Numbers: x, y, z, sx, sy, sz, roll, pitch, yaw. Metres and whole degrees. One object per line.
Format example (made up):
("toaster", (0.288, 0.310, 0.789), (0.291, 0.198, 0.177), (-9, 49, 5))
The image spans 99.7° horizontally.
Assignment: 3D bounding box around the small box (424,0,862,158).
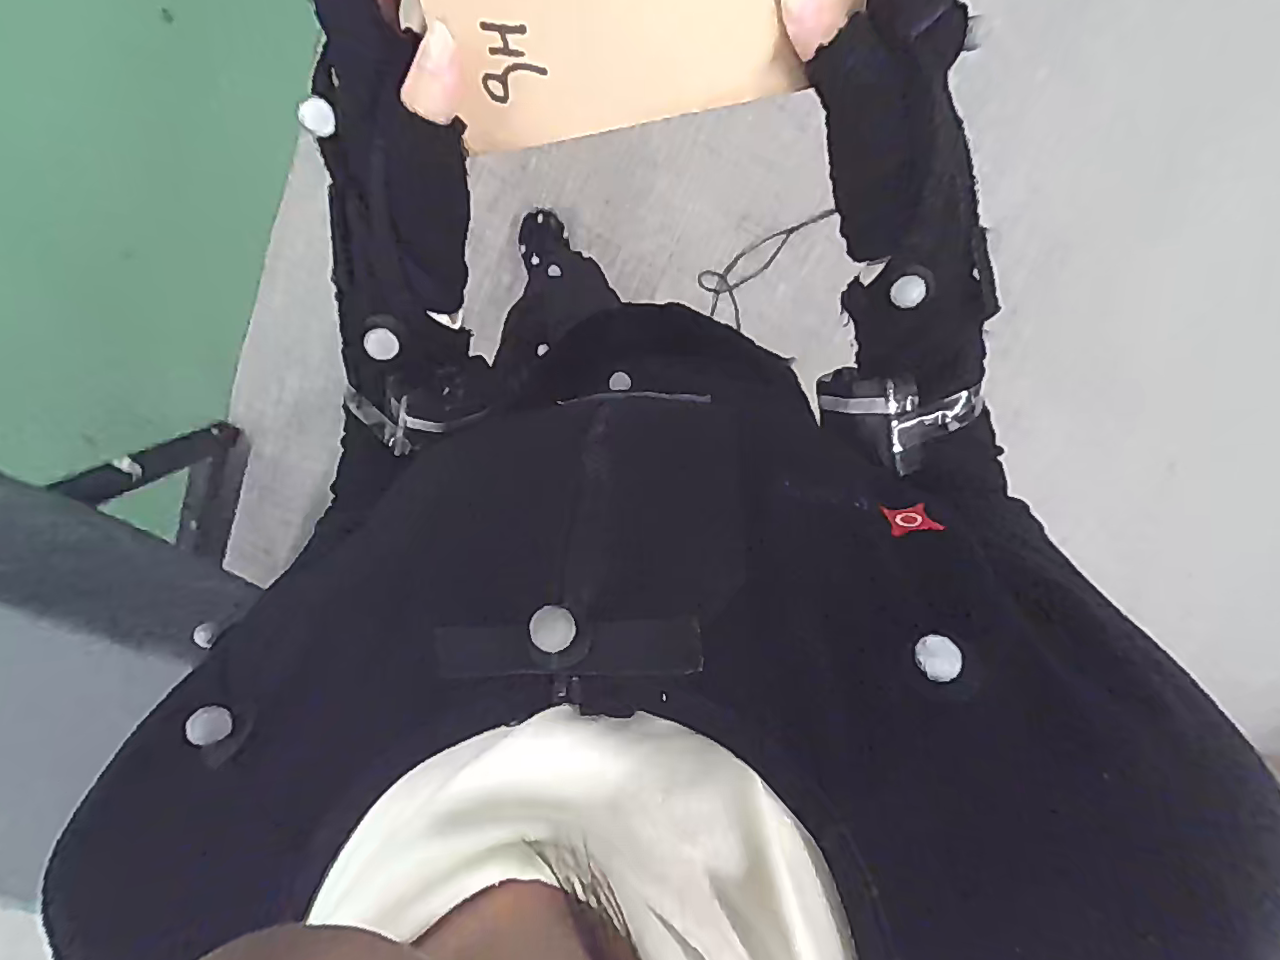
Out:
("small box", (-0.018, -0.267, 0.238), (0.179, 0.176, 0.168), (-16, 132, -4))
